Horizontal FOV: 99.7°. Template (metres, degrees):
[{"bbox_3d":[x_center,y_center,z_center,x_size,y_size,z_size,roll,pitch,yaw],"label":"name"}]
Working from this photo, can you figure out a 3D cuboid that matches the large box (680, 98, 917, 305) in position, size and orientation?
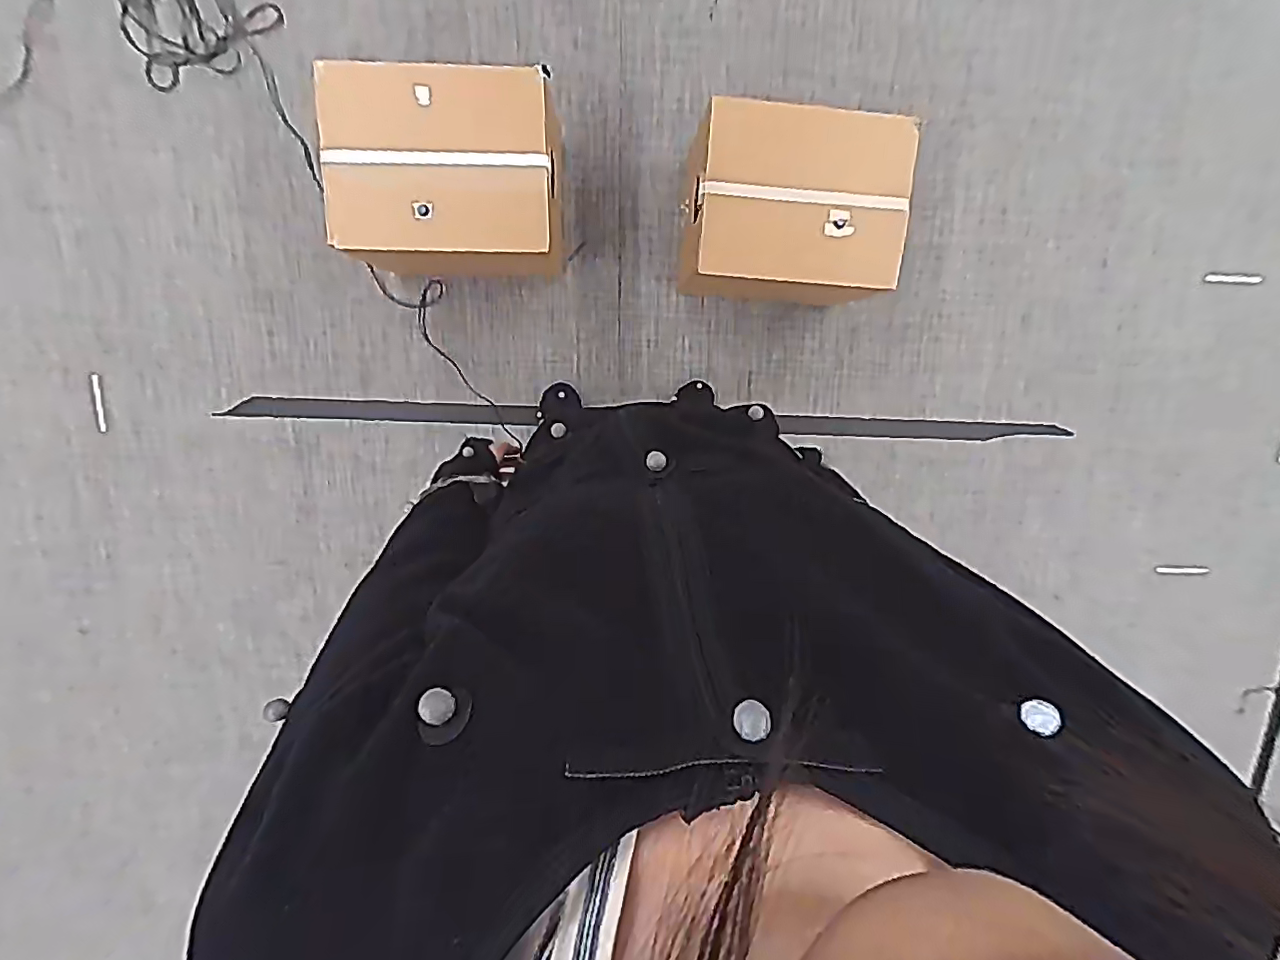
[{"bbox_3d":[0.312,-0.576,1.189,0.408,0.320,0.320,3,101,-5],"label":"large box"}]
